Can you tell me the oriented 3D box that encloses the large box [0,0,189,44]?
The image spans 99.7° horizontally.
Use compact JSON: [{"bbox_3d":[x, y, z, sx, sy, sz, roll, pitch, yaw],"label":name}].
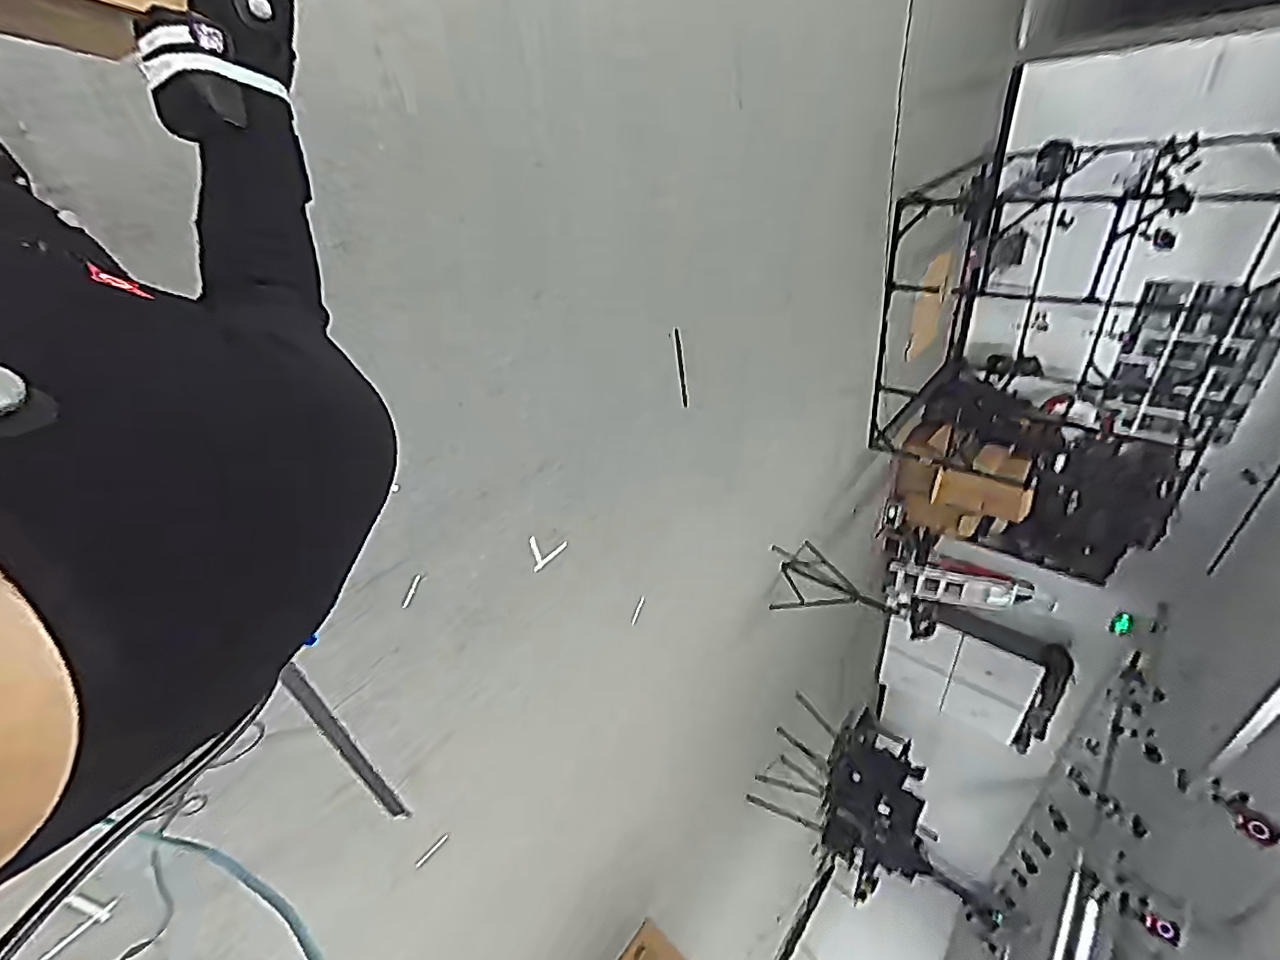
[{"bbox_3d":[-0.545,-0.475,0.266,0.408,0.320,0.320,-22,128,-45],"label":"large box"}]
